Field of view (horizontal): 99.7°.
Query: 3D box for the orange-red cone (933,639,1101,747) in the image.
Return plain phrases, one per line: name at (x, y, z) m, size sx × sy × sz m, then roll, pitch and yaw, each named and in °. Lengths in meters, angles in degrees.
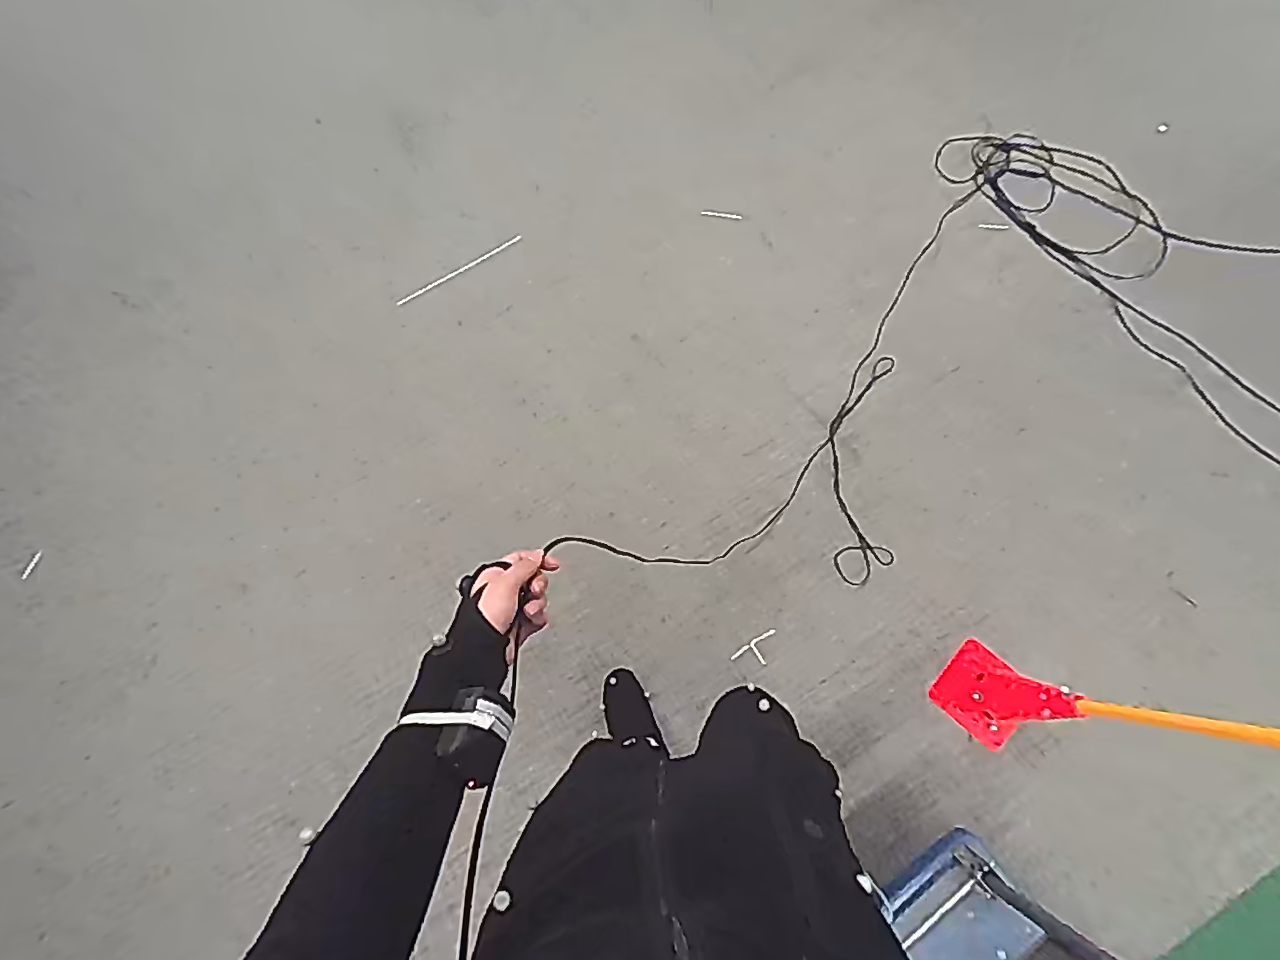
orange-red cone at (0.850, 0.473, 1.178) m, size 0.198 × 0.360 × 0.199 m, roll 42°, pitch 78°, yaw 14°
